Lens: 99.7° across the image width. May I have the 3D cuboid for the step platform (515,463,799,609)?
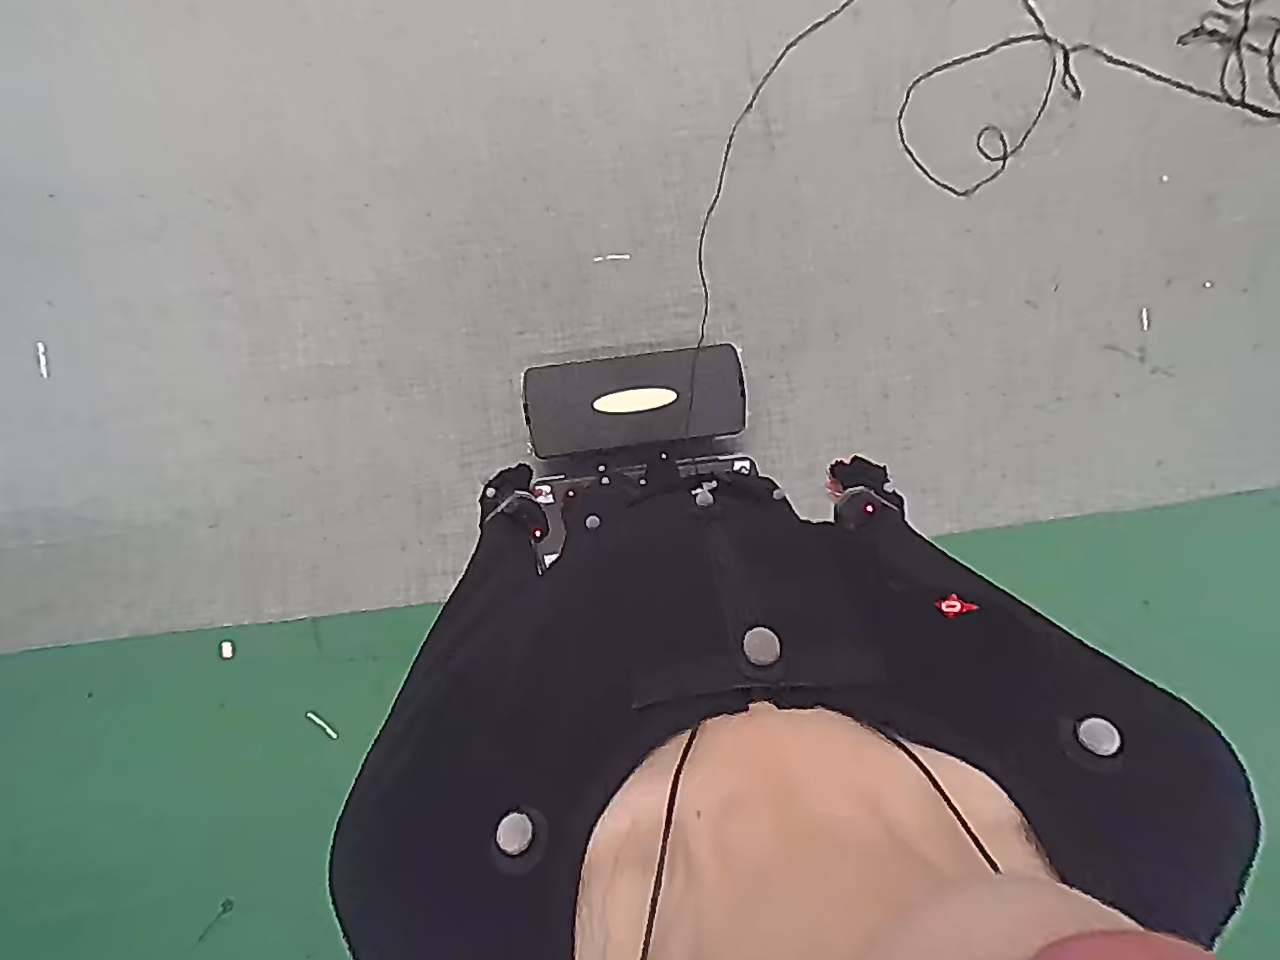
[{"bbox_3d":[0.039,0.135,1.389,0.684,0.204,0.286,-7,90,-3],"label":"step platform"}]
